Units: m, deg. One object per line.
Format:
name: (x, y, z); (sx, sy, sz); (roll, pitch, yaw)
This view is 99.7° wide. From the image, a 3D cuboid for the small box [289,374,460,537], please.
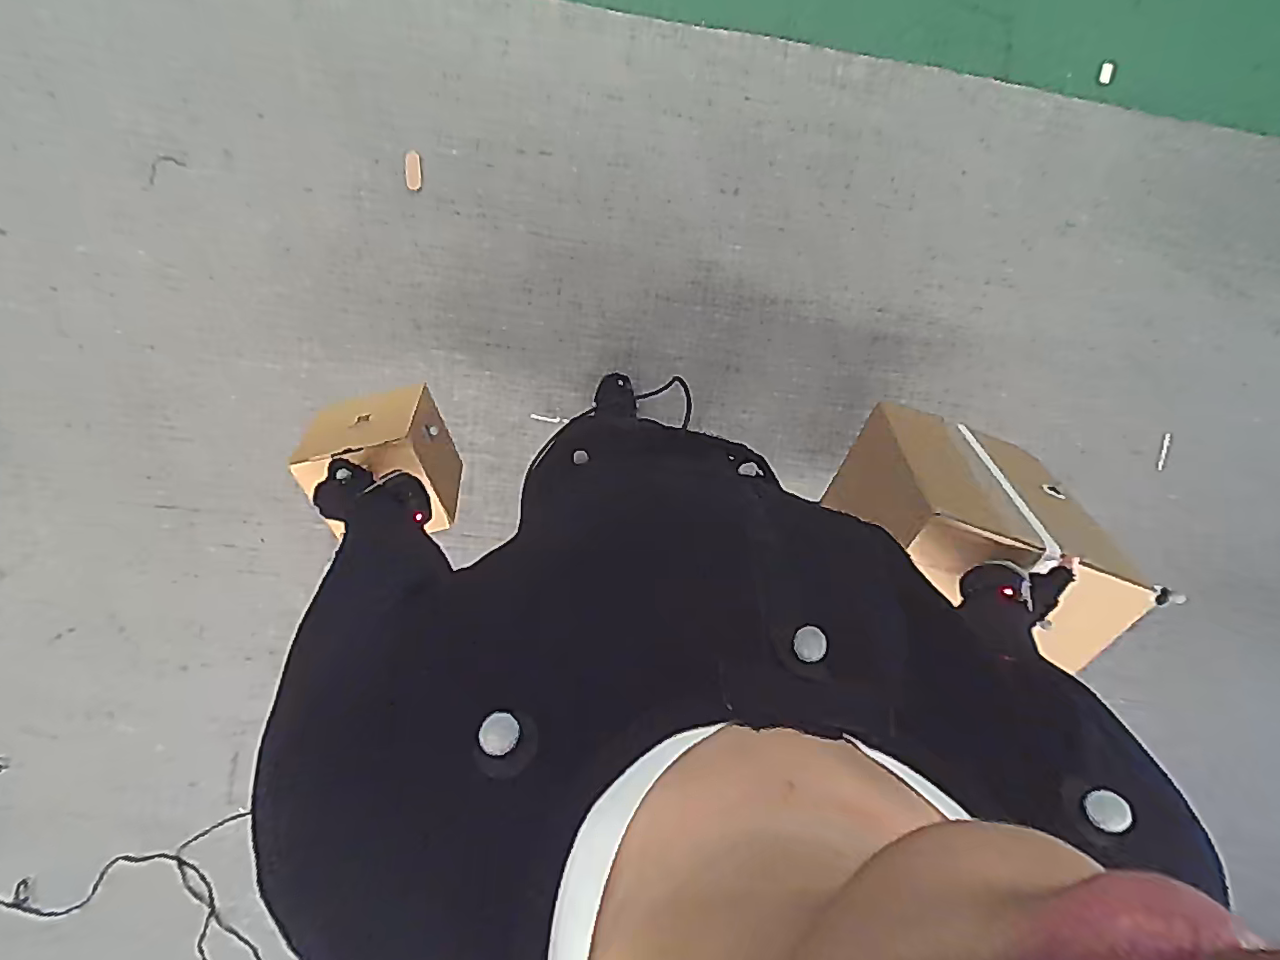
small box: (-0.394, -0.039, 0.843); (0.168, 0.179, 0.176); (-13, 128, -1)
